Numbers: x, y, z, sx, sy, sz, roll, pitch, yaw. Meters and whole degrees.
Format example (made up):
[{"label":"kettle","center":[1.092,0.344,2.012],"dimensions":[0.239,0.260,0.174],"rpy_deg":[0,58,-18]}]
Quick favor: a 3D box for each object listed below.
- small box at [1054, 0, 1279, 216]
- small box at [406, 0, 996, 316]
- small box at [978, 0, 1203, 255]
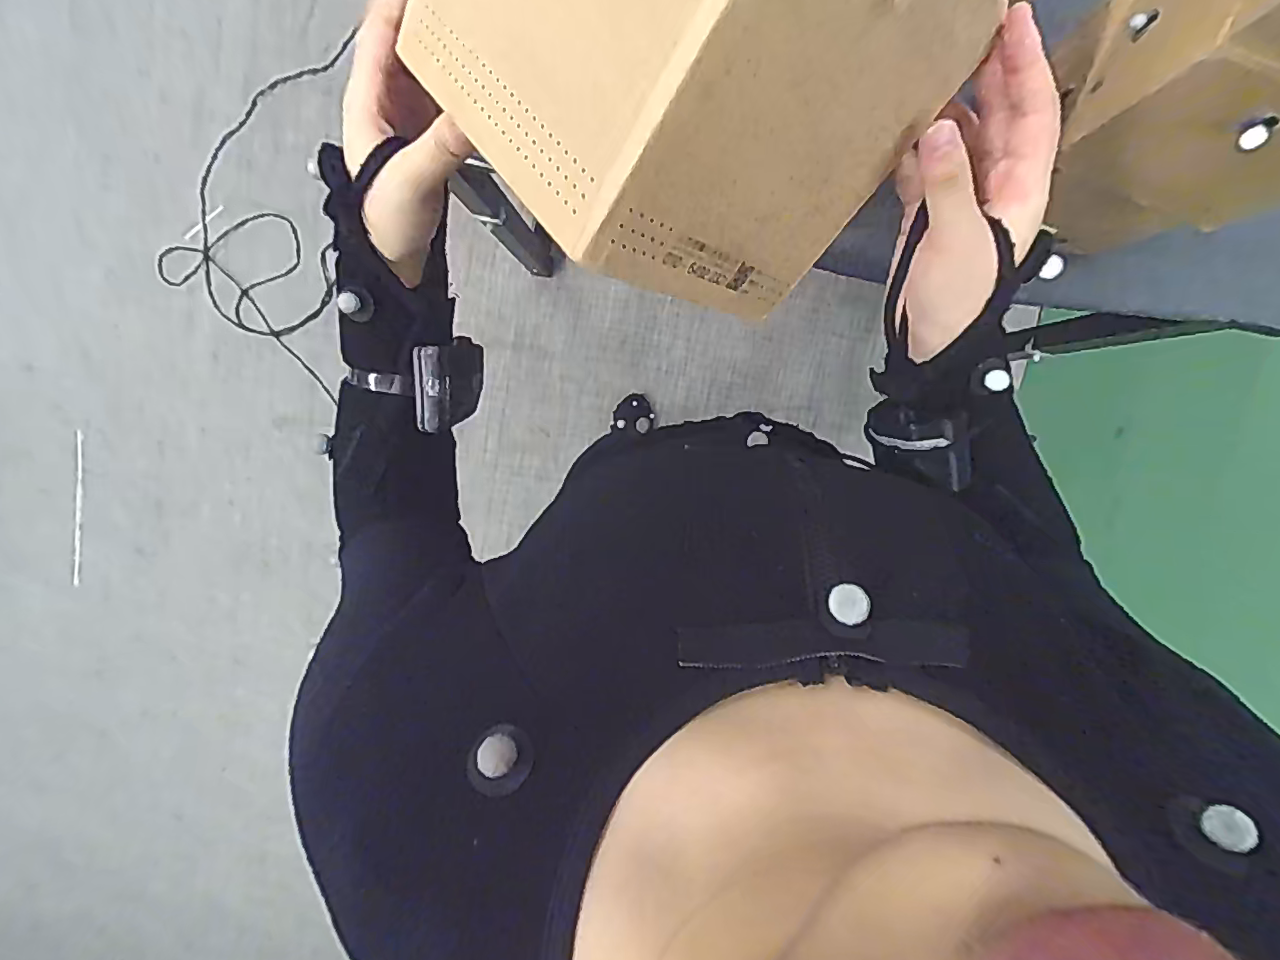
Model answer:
[{"label":"small box","center":[0.505,-0.345,0.439],"dimensions":[0.179,0.176,0.168],"rpy_deg":[24,97,1]},{"label":"small box","center":[0.018,-0.207,0.255],"dimensions":[0.179,0.168,0.176],"rpy_deg":[53,125,21]},{"label":"small box","center":[0.516,-0.376,0.599],"dimensions":[0.168,0.176,0.179],"rpy_deg":[13,97,2]}]
